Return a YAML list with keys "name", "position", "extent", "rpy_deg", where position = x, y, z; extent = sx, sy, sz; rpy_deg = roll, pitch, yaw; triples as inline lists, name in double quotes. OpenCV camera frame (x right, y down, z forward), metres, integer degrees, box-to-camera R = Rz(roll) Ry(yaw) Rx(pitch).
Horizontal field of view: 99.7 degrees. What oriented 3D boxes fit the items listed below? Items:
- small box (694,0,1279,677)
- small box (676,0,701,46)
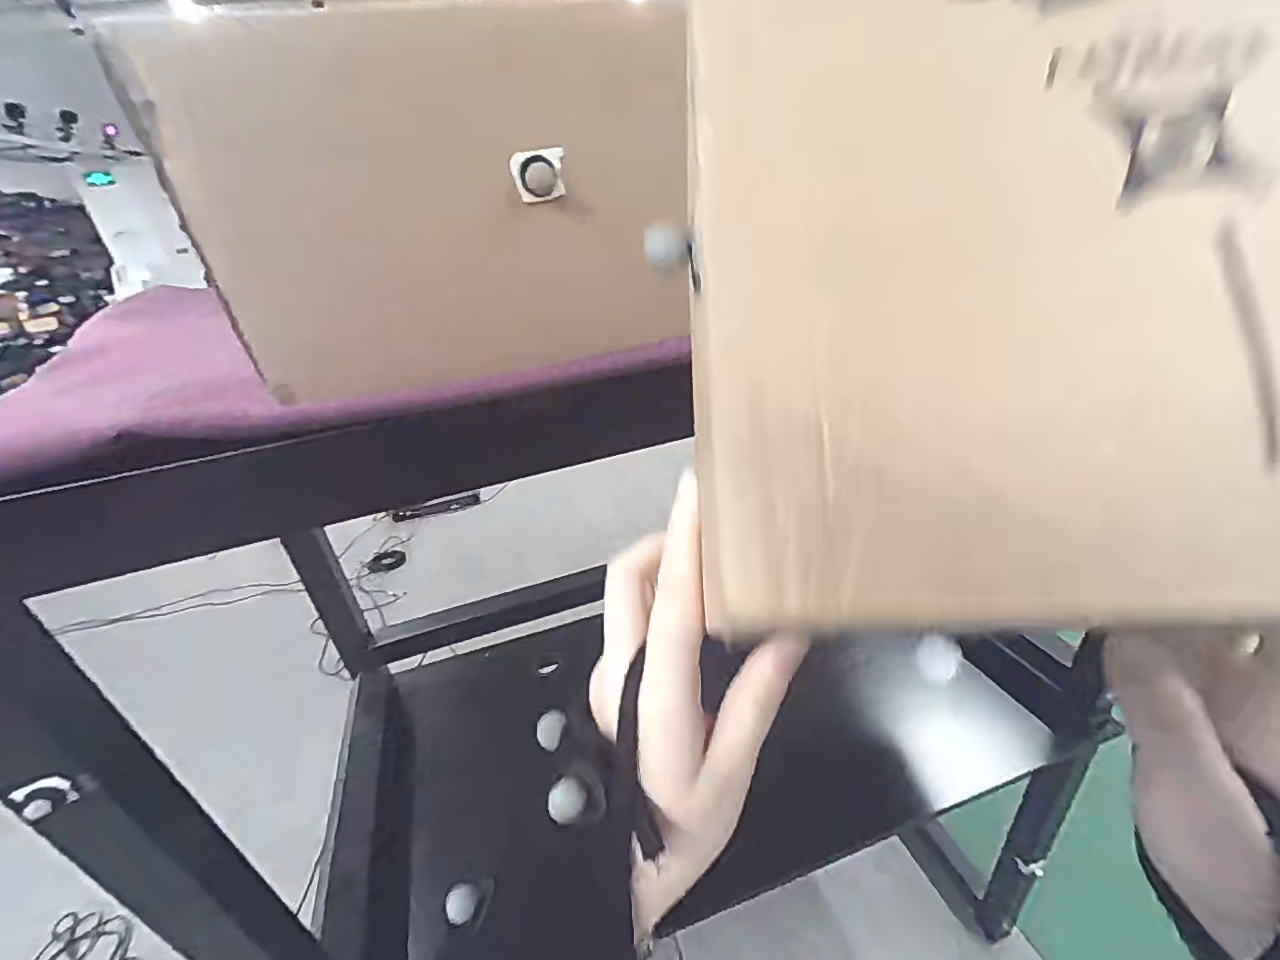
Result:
- name: "small box"
  position: [0.101, -0.033, 0.179]
  extent: [0.168, 0.176, 0.179]
  rpy_deg: [-2, 75, 6]
- name: "small box"
  position: [0.124, -0.483, 0.443]
  extent: [0.168, 0.176, 0.179]
  rpy_deg: [-14, 30, -10]
